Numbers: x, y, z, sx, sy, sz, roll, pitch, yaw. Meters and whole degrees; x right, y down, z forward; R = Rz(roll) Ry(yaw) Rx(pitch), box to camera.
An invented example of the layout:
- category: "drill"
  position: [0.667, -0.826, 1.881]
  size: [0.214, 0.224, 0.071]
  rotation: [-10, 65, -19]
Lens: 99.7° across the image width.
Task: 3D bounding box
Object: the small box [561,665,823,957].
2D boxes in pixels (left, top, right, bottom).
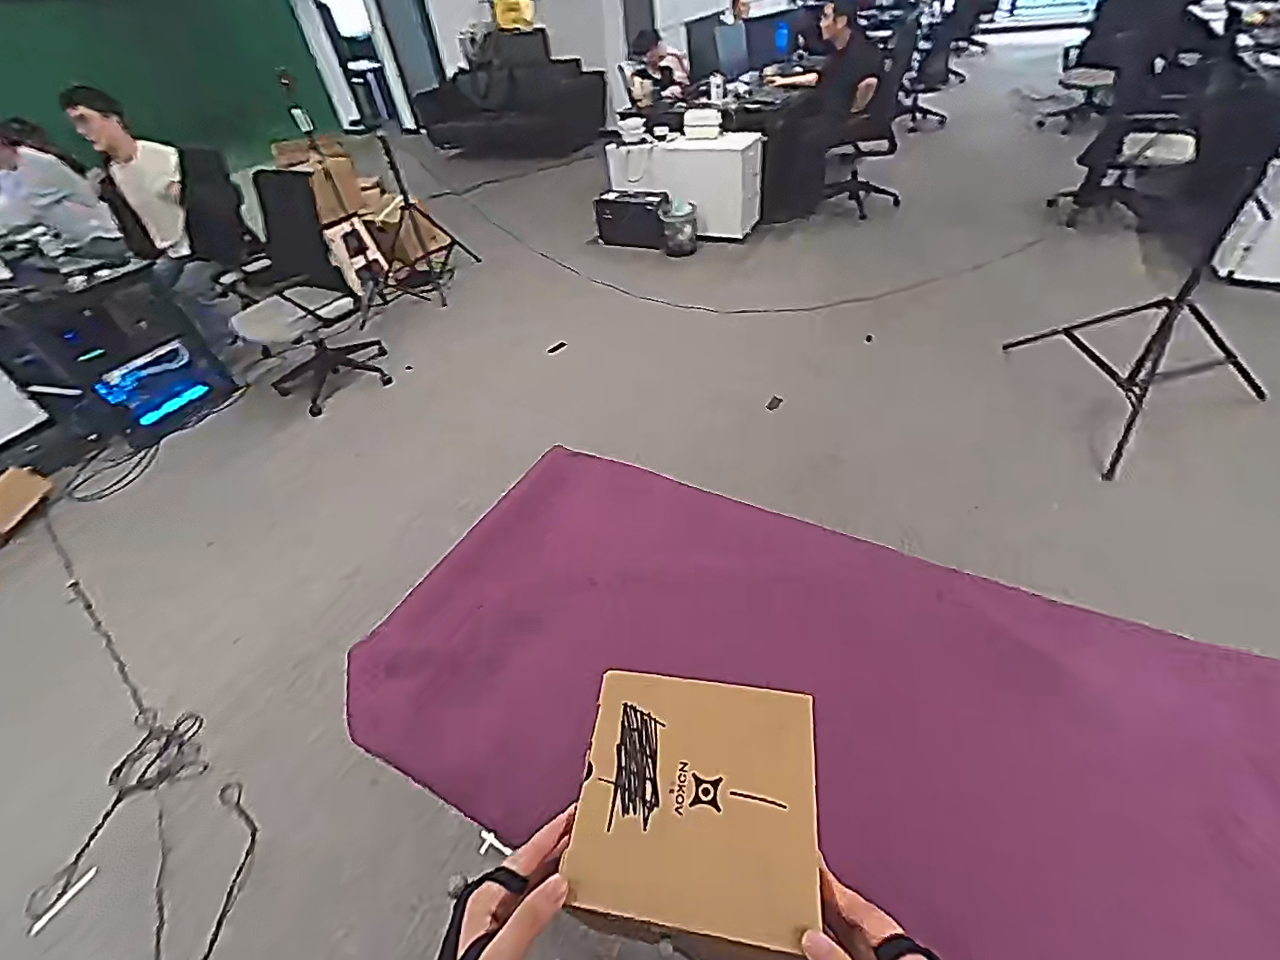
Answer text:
- category: "small box"
  position: [0.052, 0.281, 0.462]
  size: [0.179, 0.176, 0.168]
  rotation: [4, 46, 11]
